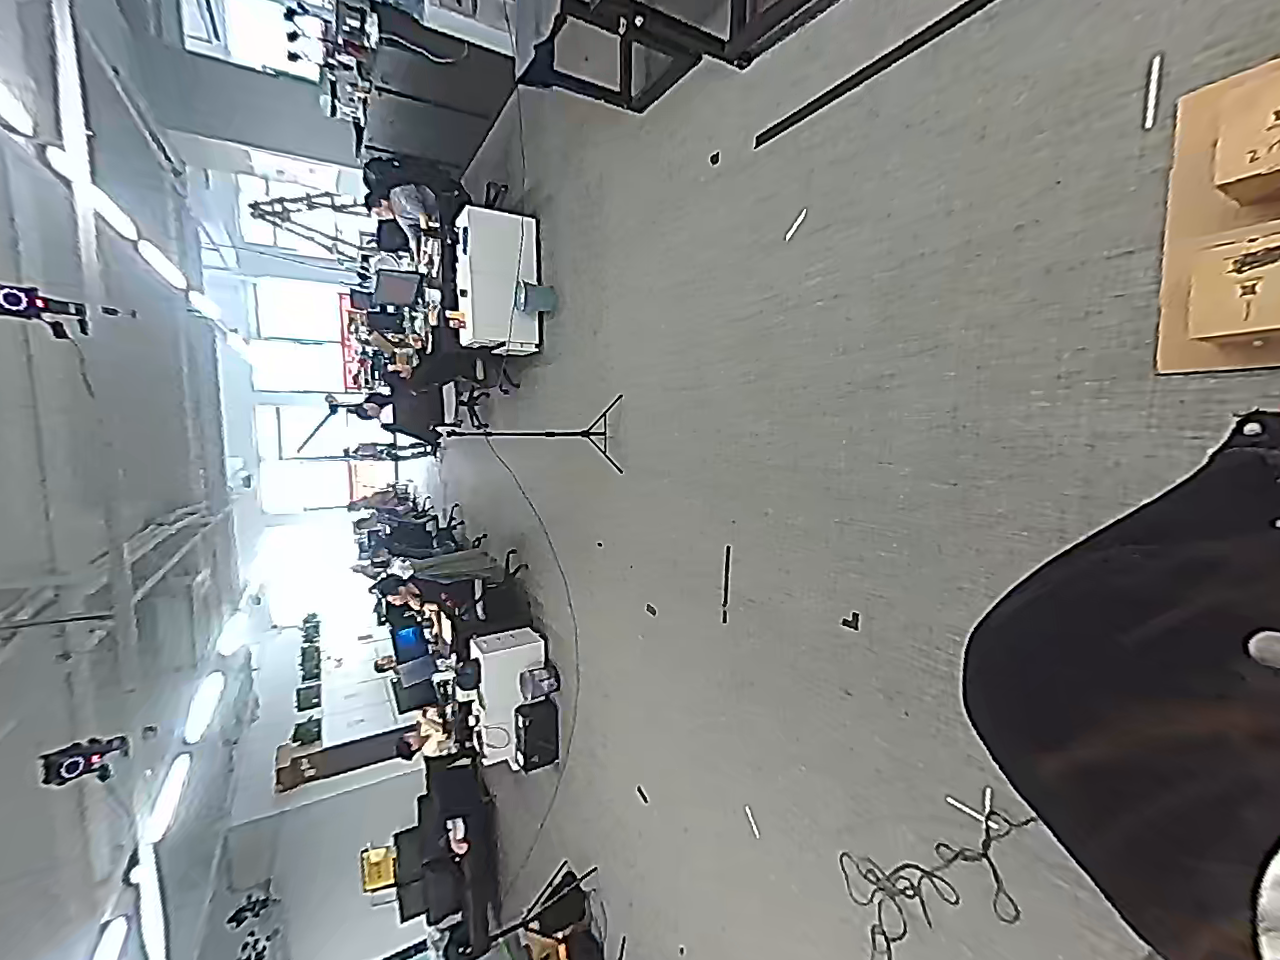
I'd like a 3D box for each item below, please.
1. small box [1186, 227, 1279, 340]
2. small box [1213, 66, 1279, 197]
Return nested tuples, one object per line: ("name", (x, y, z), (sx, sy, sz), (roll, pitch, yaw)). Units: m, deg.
("small box", (1.209, -0.377, 1.051), (0.168, 0.176, 0.179), (7, 101, 60))
("small box", (1.216, -0.658, 1.006), (0.168, 0.176, 0.179), (9, 101, 60))
